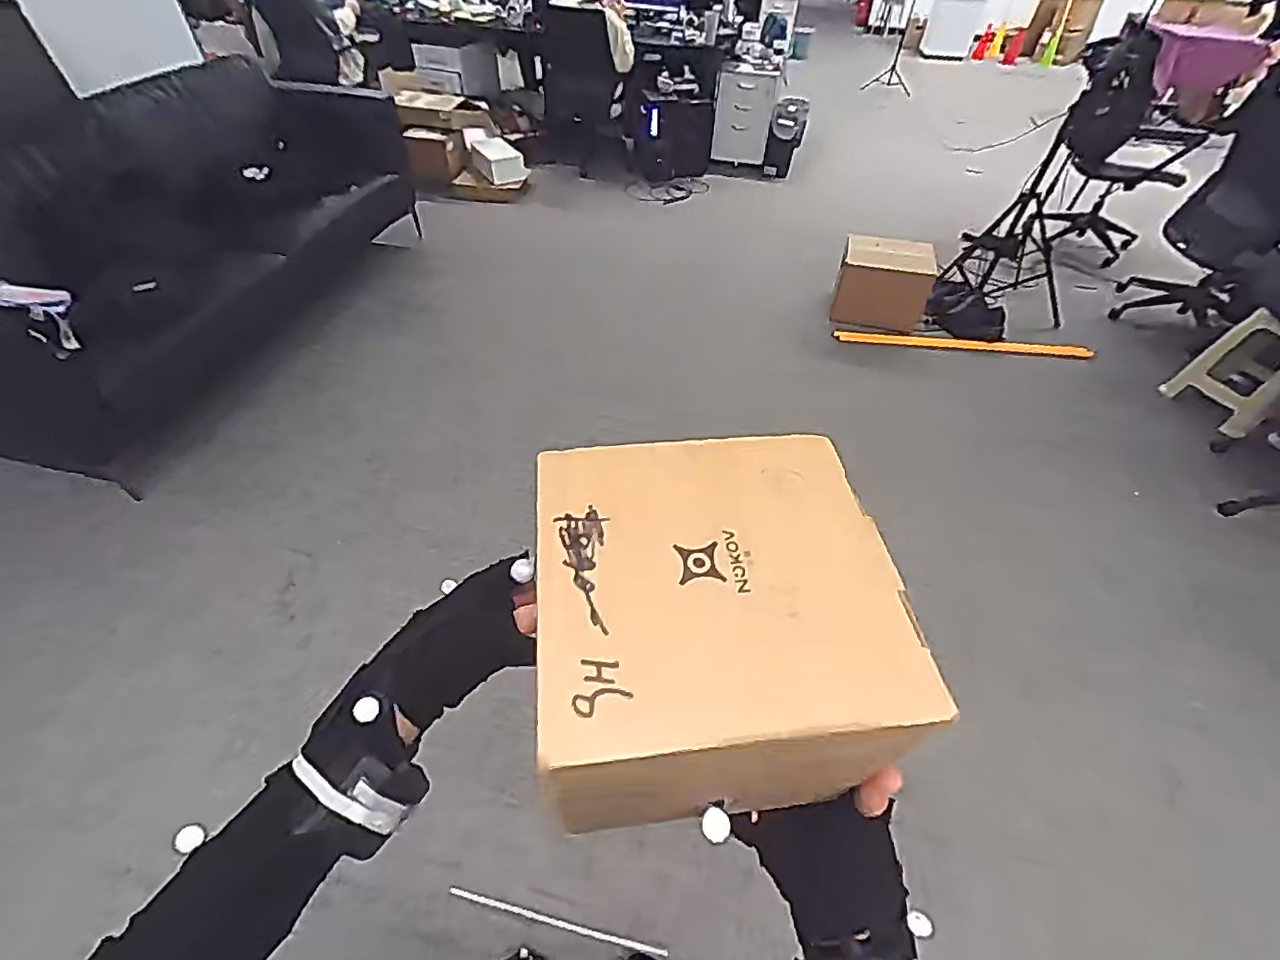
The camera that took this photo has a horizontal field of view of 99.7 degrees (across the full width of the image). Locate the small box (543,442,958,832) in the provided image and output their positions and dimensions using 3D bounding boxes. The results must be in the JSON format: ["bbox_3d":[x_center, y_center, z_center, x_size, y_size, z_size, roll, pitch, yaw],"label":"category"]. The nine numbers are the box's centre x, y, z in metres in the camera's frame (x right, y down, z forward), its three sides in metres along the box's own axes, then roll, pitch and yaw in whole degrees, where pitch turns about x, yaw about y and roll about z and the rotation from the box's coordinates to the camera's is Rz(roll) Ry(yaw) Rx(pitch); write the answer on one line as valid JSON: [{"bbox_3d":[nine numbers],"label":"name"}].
[{"bbox_3d":[0.033,0.094,0.324,0.179,0.176,0.168,-2,48,-8],"label":"small box"}]
